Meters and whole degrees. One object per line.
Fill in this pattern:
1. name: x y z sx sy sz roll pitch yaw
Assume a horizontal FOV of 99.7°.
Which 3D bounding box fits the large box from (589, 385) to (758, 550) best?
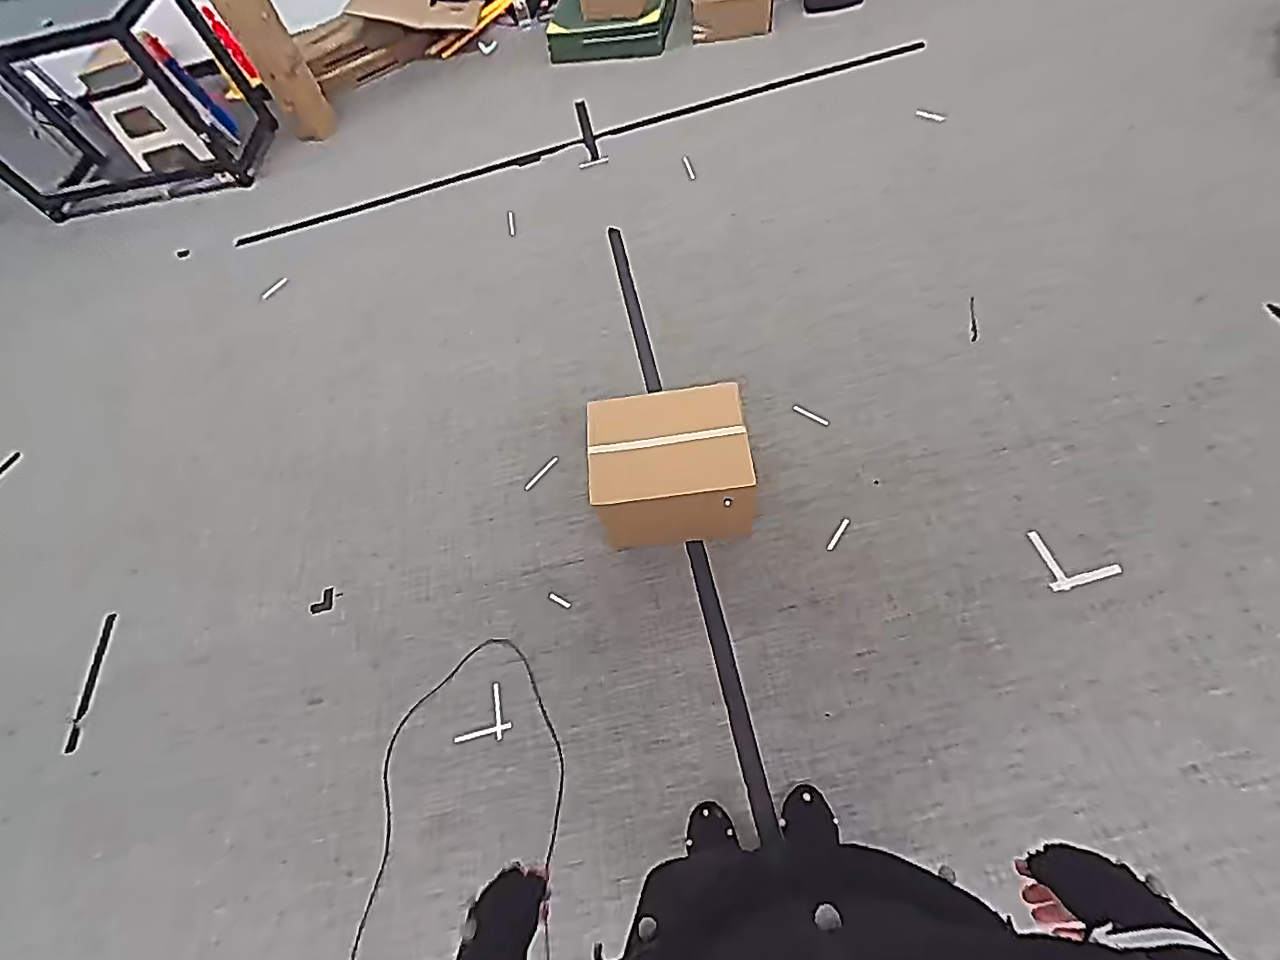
1. large box: 0.092 -0.020 1.490 0.408 0.320 0.320 -8 61 5
